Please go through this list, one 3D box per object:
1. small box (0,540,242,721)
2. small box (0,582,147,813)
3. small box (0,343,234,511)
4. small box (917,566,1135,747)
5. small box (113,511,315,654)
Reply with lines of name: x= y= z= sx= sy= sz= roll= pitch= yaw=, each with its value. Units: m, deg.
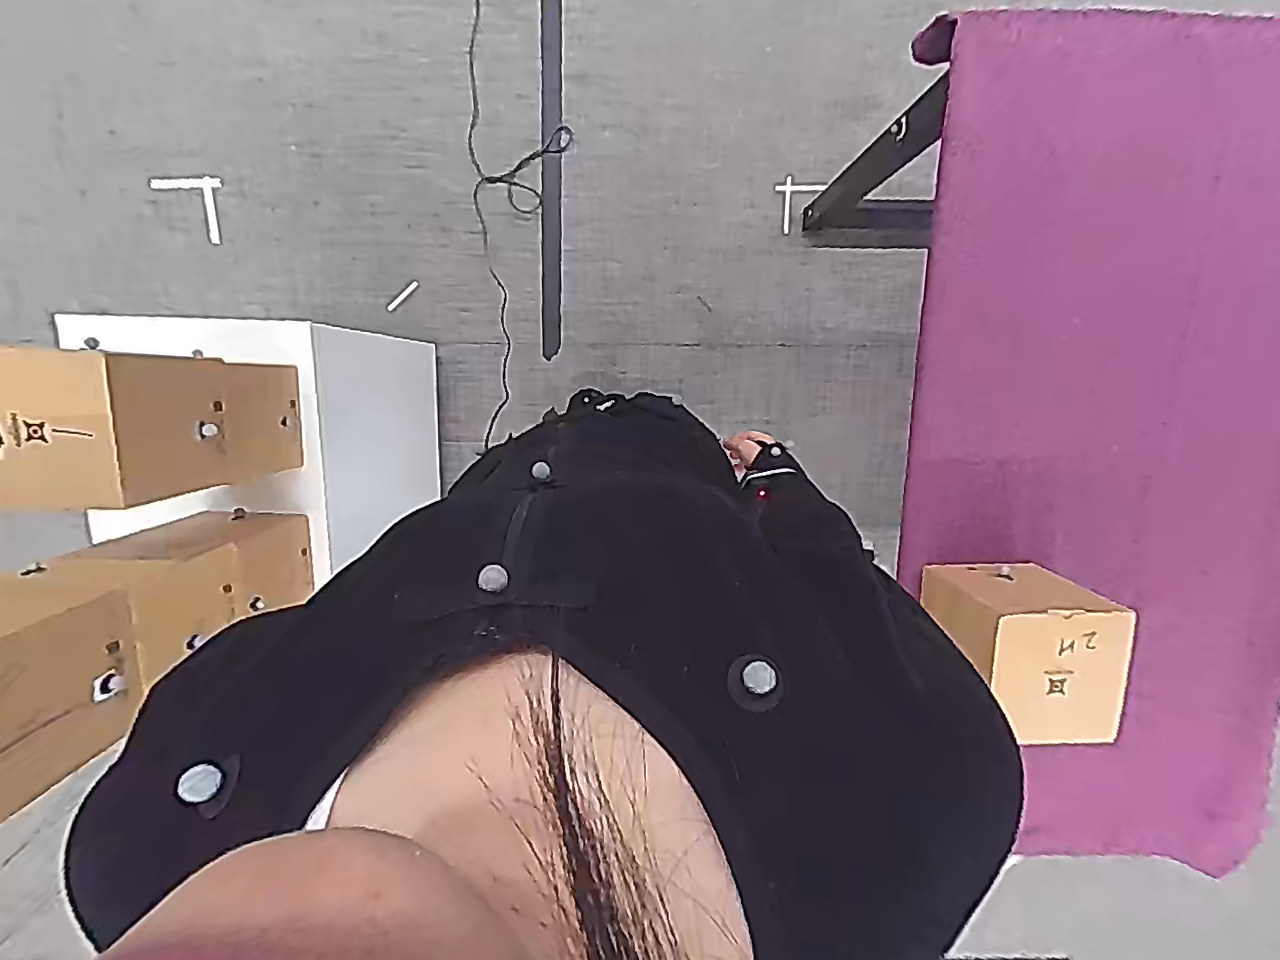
small box: x=-0.637 y=0.177 z=0.674 sx=0.179 sy=0.176 sz=0.168 roll=1 pitch=100 yaw=0
small box: x=-0.637 y=0.205 z=0.514 sx=0.179 sy=0.176 sz=0.168 roll=0 pitch=101 yaw=-1
small box: x=-0.621 y=-0.067 z=0.627 sx=0.179 sy=0.176 sz=0.168 roll=3 pitch=101 yaw=-3
small box: x=0.497 y=0.227 z=0.725 sx=0.168 sy=0.176 sz=0.179 roll=-1 pitch=100 yaw=-1
small box: x=-0.640 y=0.148 z=0.834 sx=0.179 sy=0.176 sz=0.168 roll=2 pitch=101 yaw=0
